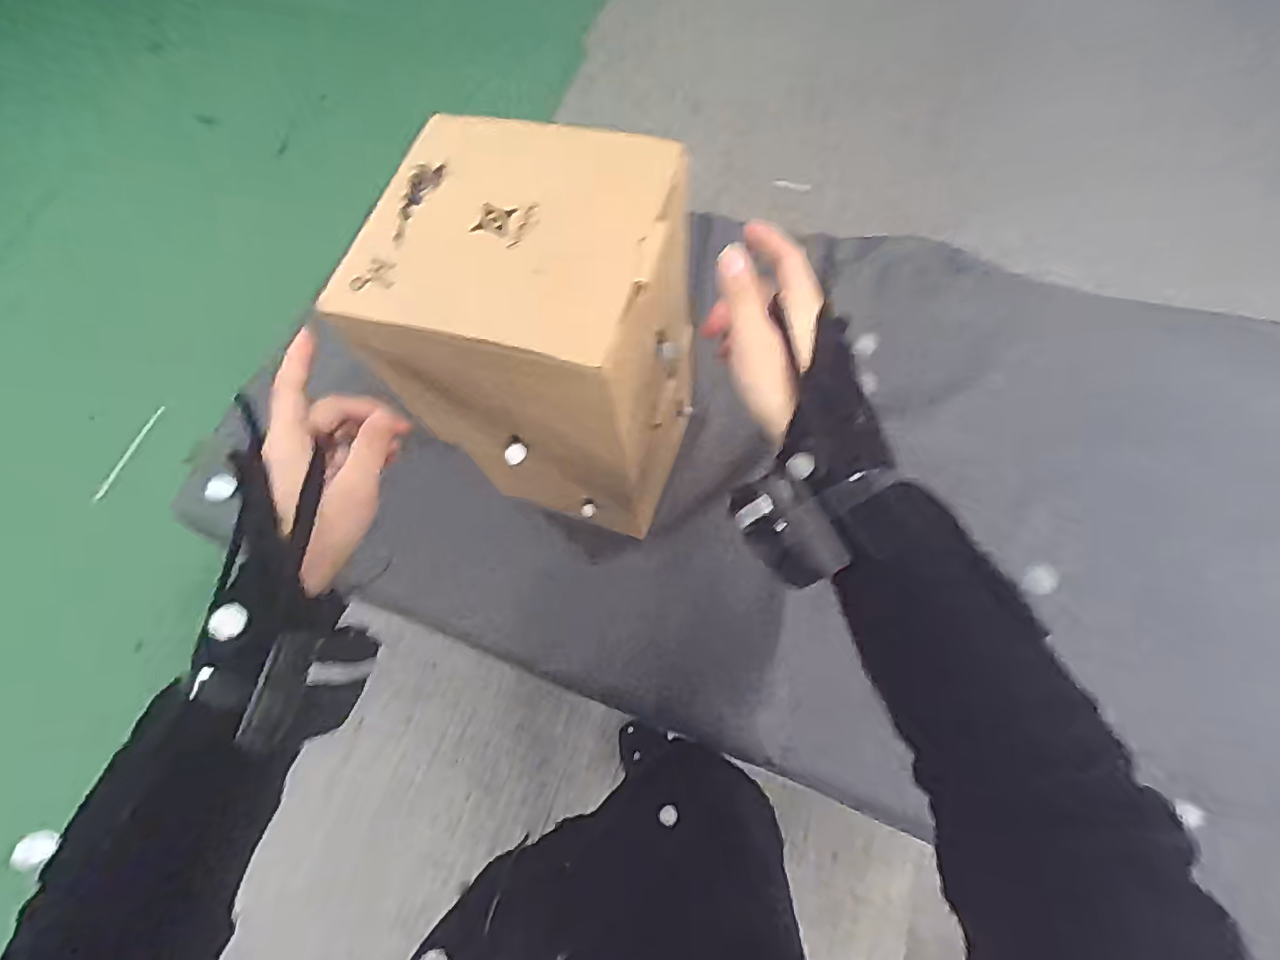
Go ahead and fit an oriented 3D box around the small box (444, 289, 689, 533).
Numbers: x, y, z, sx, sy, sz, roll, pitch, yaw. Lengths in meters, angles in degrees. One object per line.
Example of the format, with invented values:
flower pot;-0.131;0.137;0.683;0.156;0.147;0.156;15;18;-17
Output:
small box;-0.057;-0.059;0.551;0.179;0.176;0.168;16;69;11
